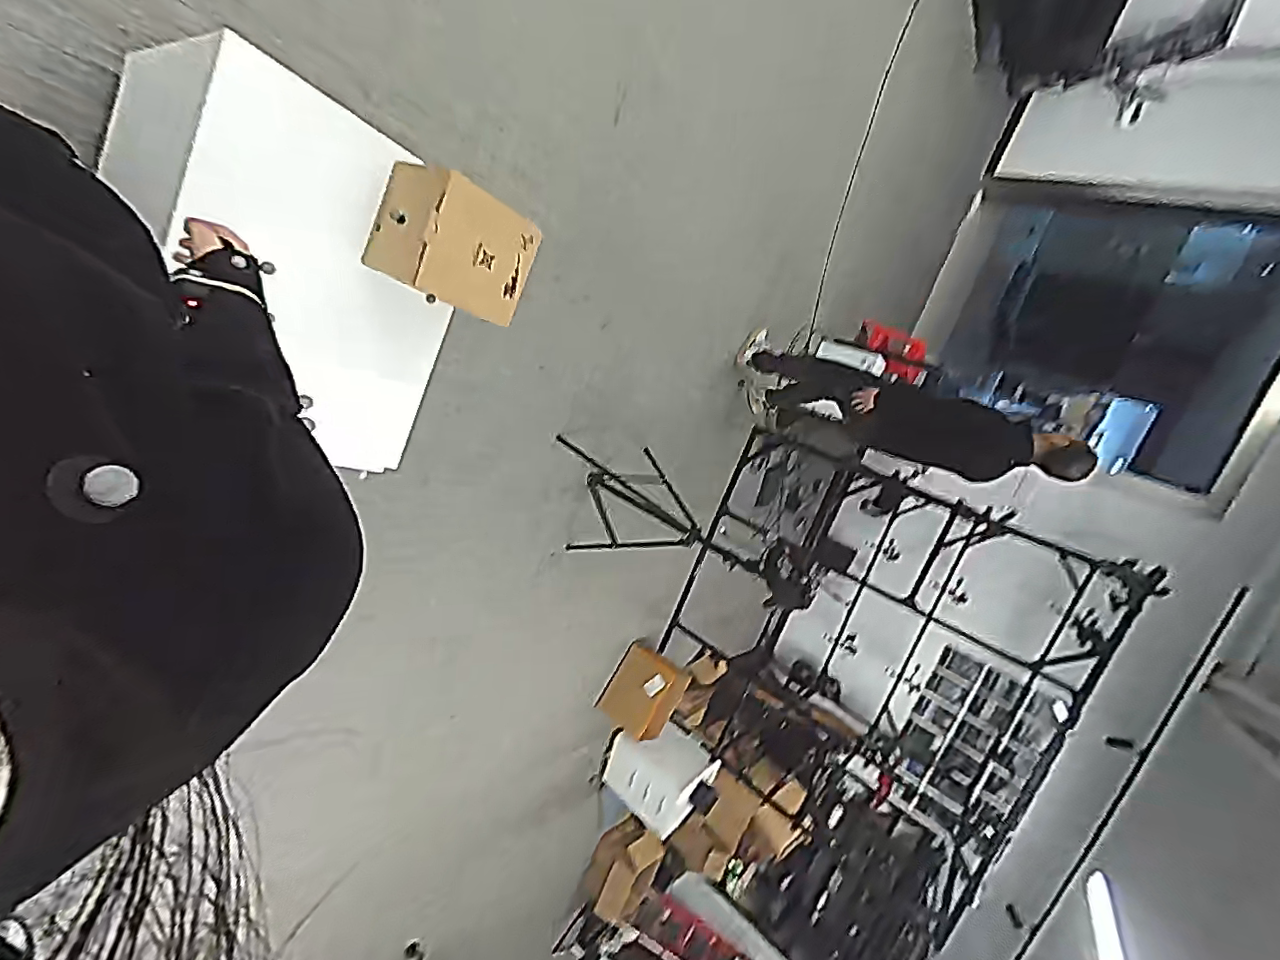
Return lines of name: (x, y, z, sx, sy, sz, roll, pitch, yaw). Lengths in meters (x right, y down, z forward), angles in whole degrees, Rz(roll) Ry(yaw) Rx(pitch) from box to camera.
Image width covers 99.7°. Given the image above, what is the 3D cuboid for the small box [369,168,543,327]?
small box: (-0.293, -0.365, 0.853, 0.179, 0.176, 0.168, 13, 103, -54)
